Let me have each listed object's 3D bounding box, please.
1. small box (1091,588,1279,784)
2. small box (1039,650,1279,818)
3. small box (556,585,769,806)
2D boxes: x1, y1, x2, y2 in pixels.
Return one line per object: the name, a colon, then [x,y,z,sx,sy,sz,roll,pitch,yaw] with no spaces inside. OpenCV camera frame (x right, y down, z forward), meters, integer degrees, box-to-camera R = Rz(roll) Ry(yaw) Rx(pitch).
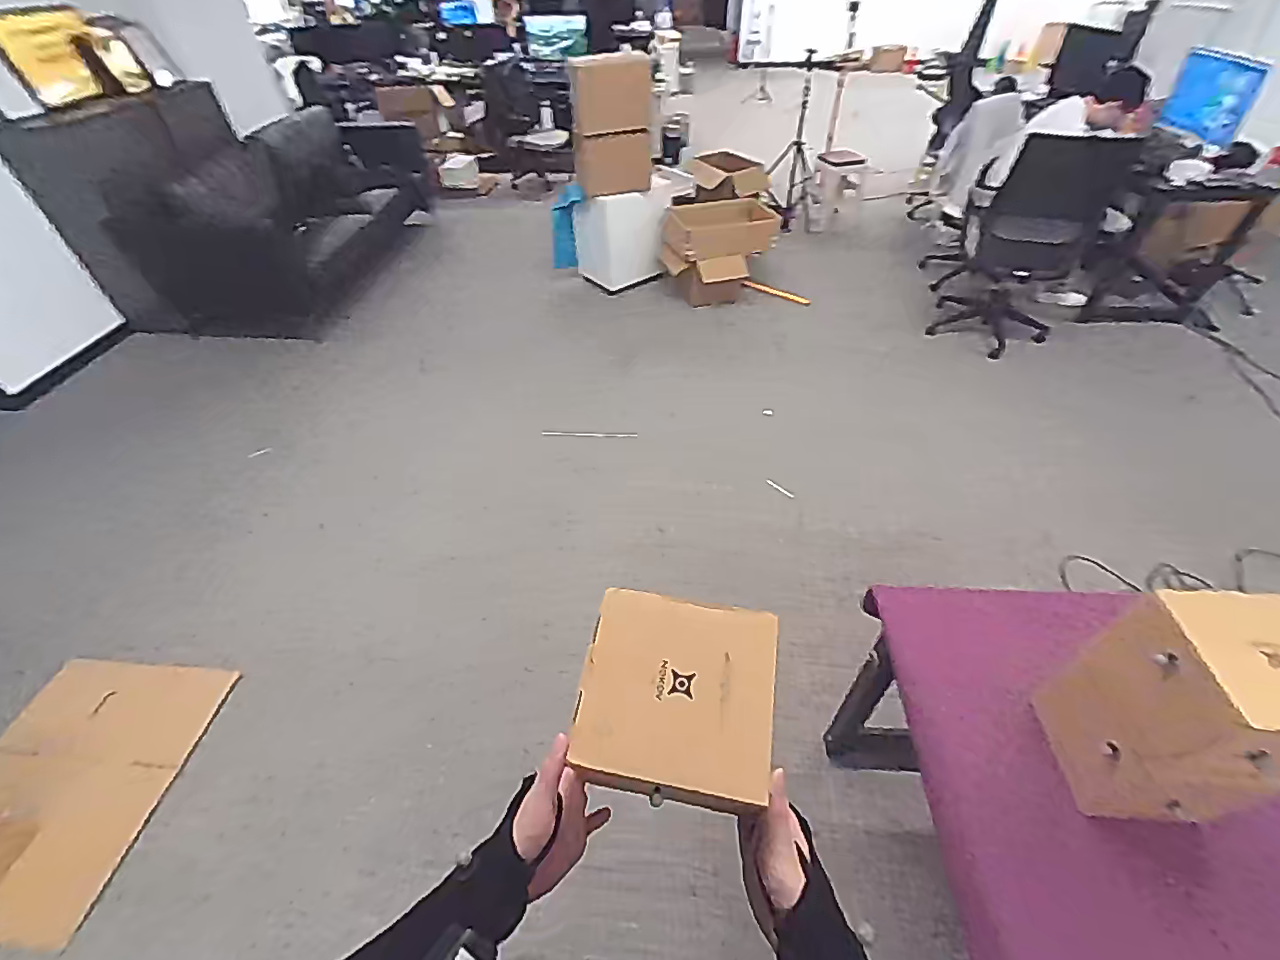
small box: [0.723,0.256,0.669,0.168,0.176,0.179,2,45,5]
small box: [0.732,0.370,0.783,0.168,0.176,0.179,3,46,5]
small box: [0.031,0.229,0.566,0.179,0.176,0.168,8,57,9]
